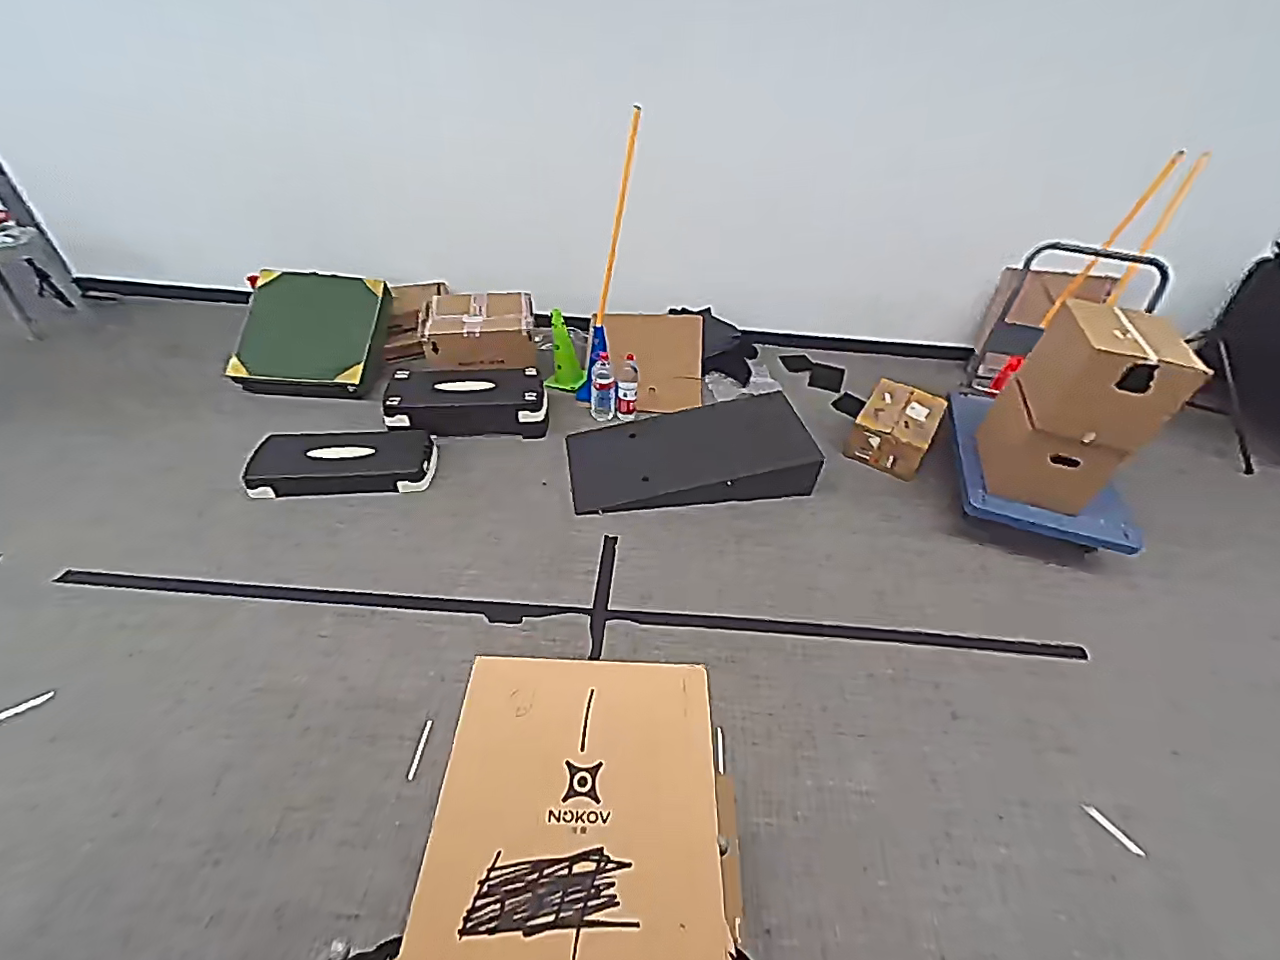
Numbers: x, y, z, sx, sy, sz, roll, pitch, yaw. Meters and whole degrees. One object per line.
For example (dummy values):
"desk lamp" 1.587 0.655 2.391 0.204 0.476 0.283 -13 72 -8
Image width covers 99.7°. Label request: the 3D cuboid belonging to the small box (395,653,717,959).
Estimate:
"small box" -0.041 0.244 0.379 0.168 0.176 0.179 3 45 -1
